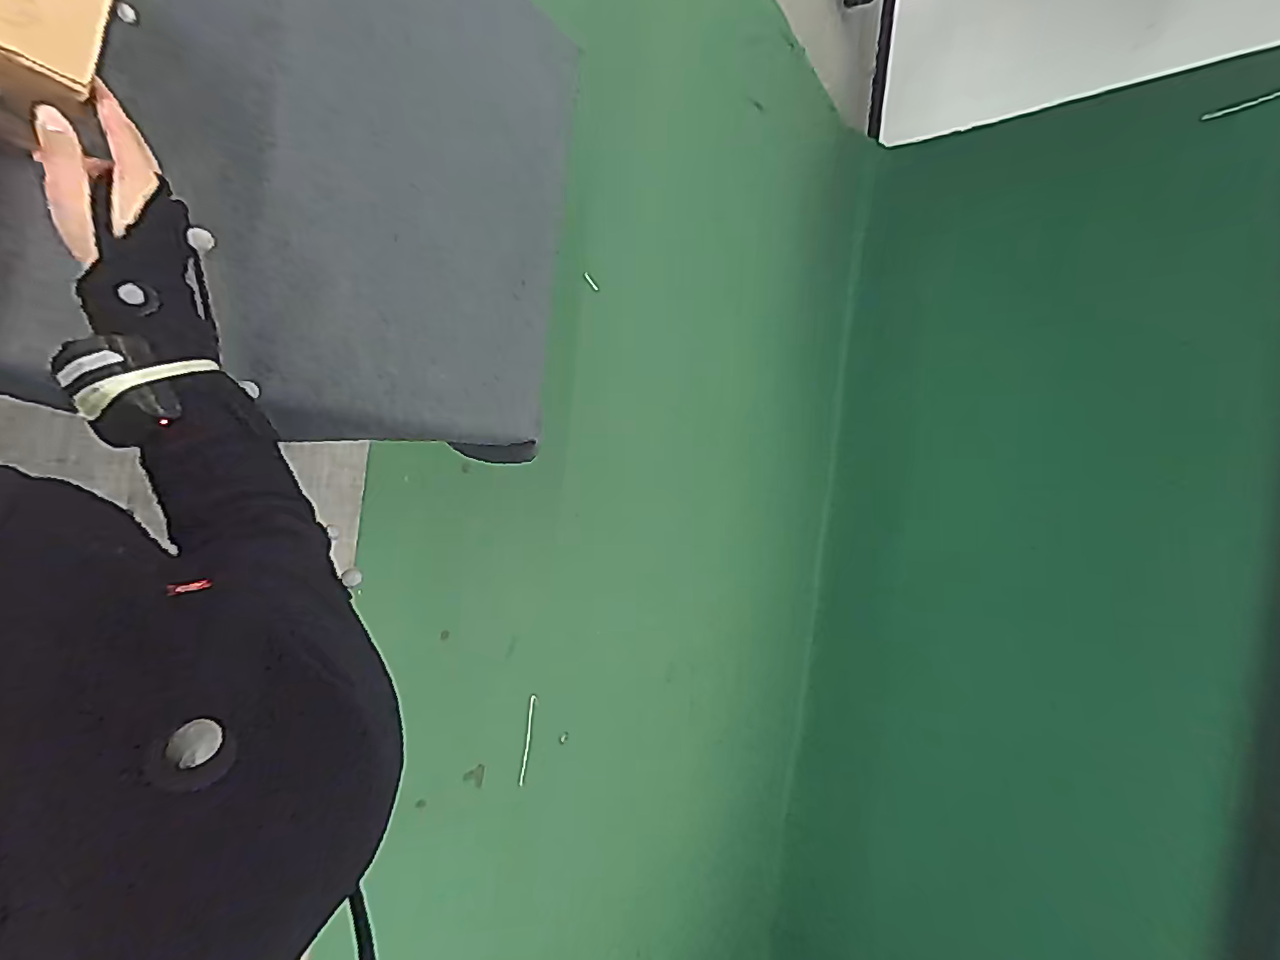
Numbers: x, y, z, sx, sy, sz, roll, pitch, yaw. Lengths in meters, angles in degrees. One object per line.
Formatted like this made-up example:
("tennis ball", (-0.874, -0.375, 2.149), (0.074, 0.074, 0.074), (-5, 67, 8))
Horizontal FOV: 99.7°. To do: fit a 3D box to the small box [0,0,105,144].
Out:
("small box", (-0.451, -0.353, 0.336), (0.168, 0.176, 0.179), (12, 86, -52))
